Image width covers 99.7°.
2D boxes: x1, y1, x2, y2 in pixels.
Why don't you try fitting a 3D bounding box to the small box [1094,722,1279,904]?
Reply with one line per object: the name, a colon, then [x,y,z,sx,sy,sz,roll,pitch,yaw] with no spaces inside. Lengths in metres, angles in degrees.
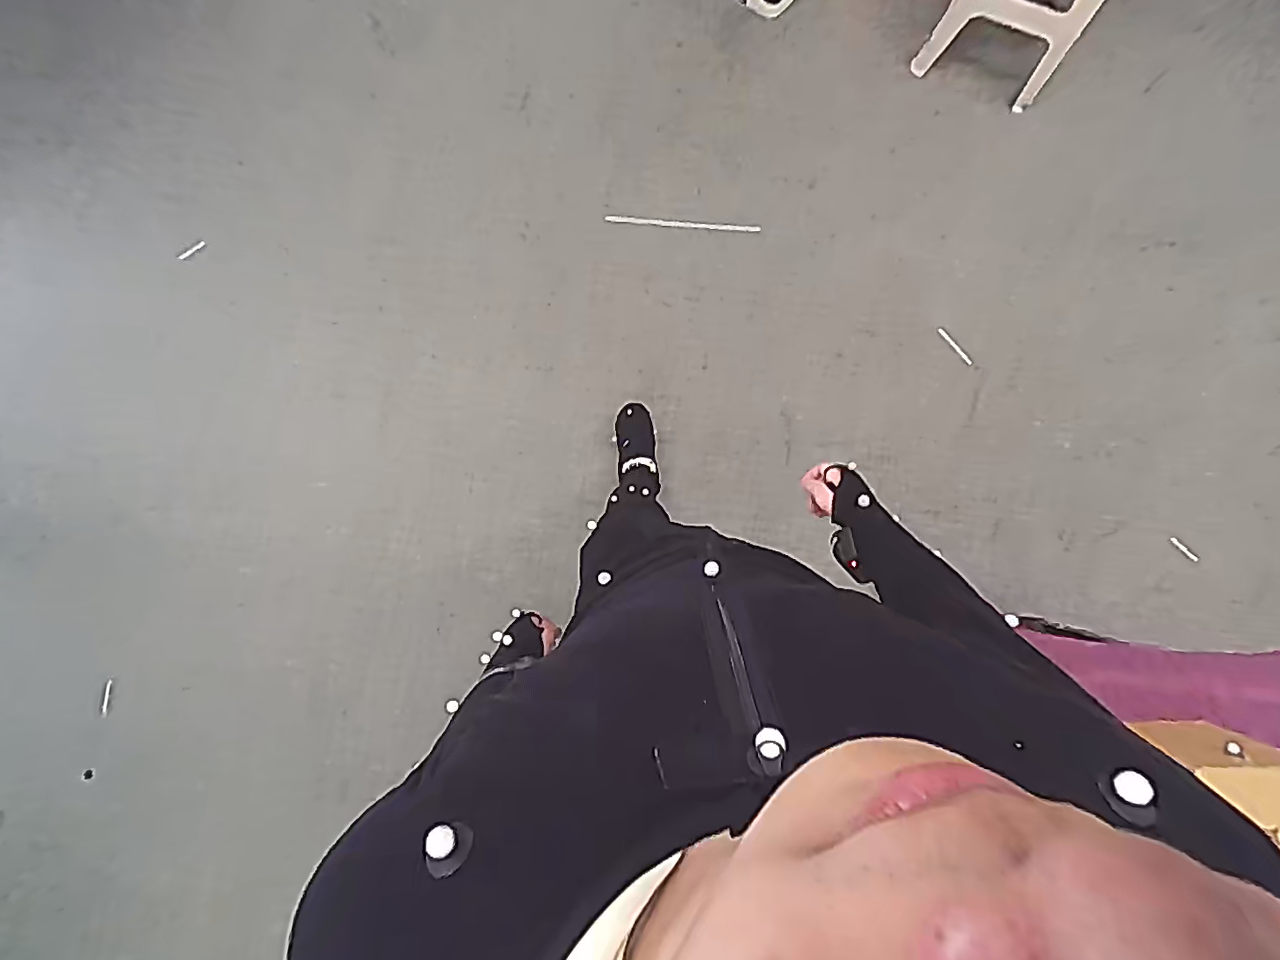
small box: [0.802,0.459,0.769,0.179,0.176,0.168,0,86,3]
